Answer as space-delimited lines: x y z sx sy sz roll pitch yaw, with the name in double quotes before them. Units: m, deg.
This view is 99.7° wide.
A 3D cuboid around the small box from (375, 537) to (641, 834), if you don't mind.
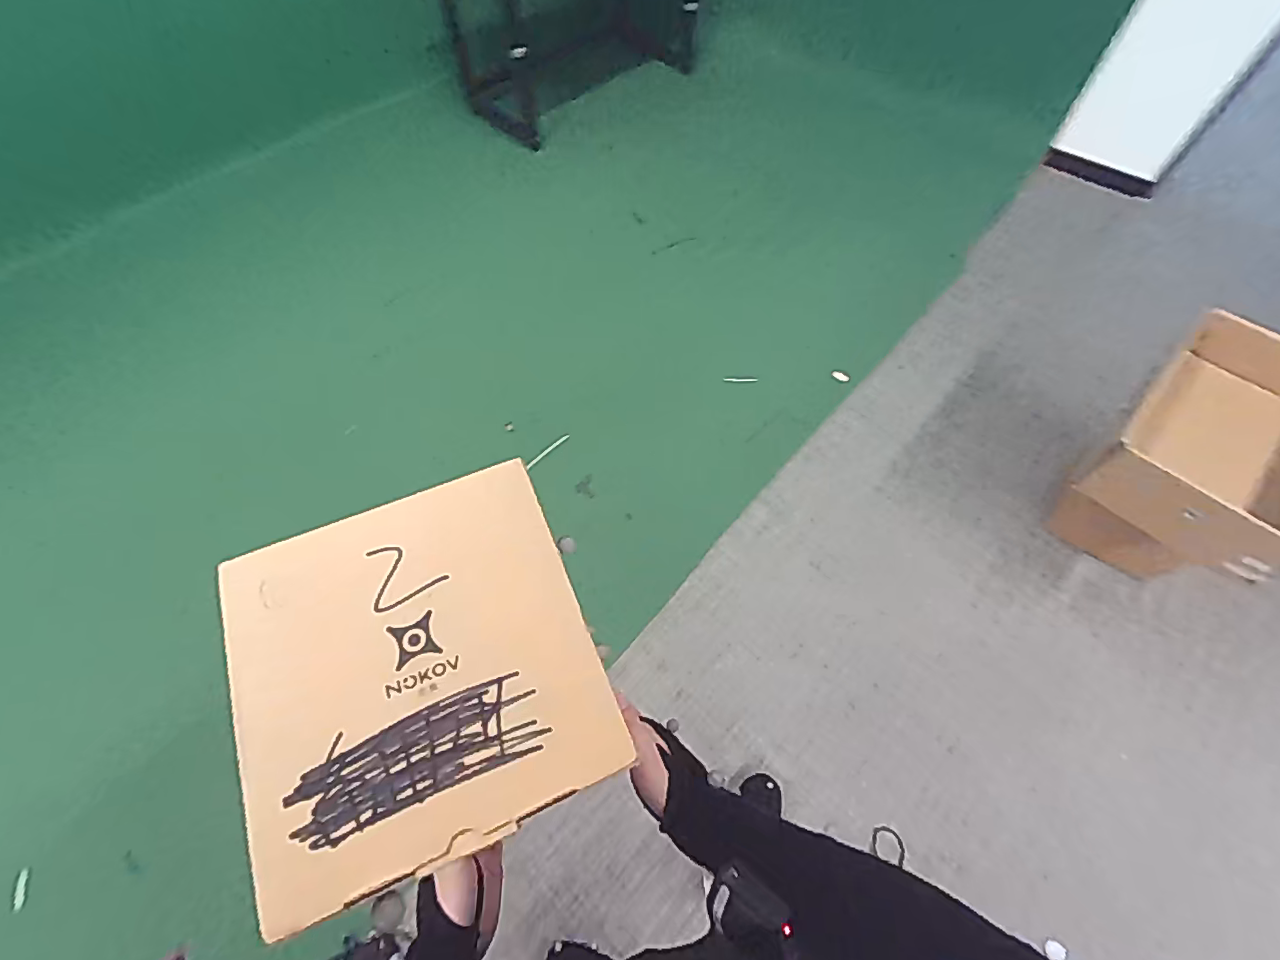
"small box" -0.110 0.181 0.492 0.168 0.176 0.179 -22 68 -12
